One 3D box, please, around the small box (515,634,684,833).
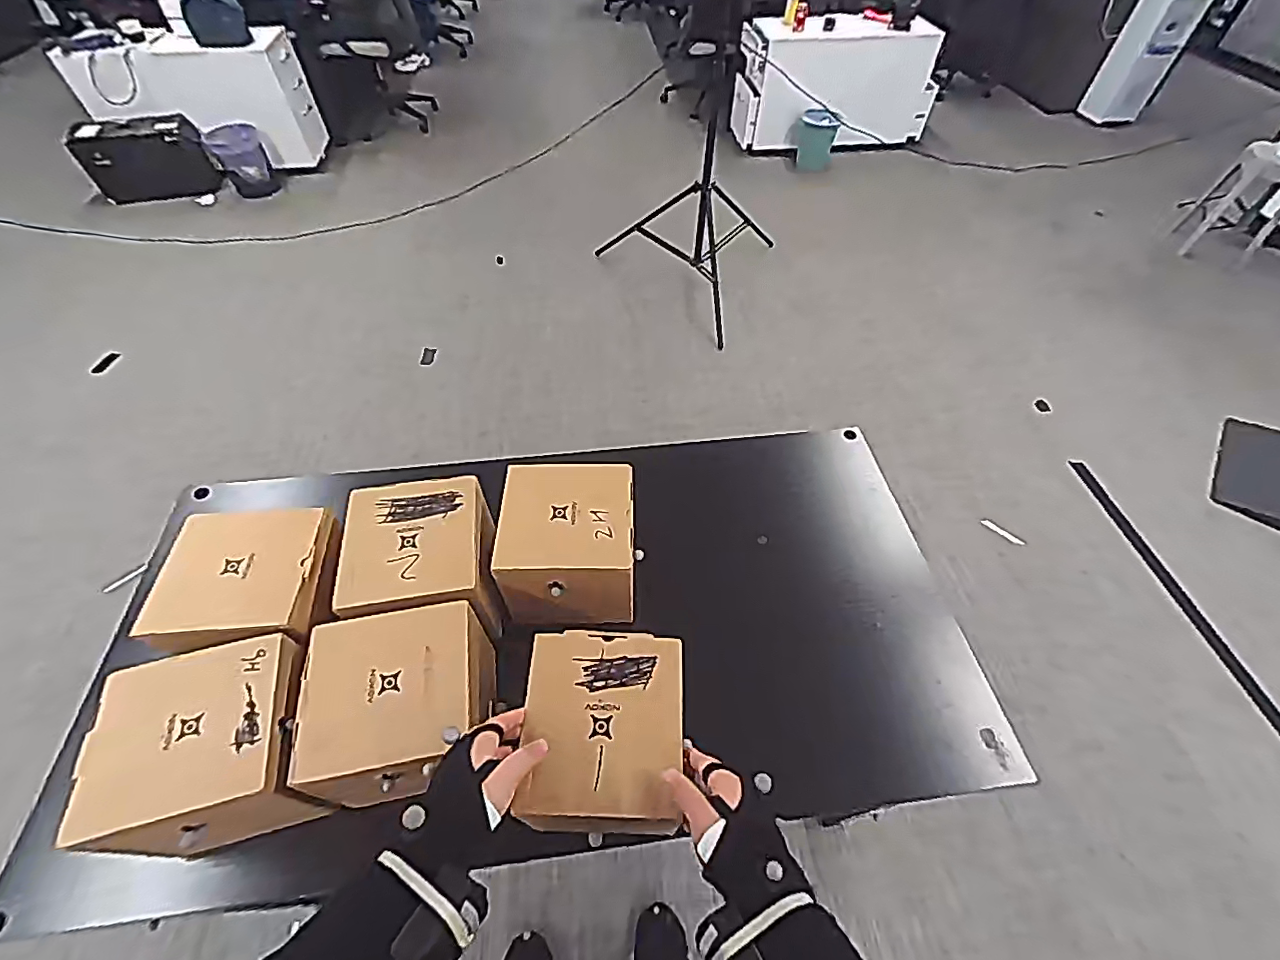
[{"bbox_3d":[-0.038,0.297,0.630,0.168,0.176,0.179,2,53,1],"label":"small box"}]
